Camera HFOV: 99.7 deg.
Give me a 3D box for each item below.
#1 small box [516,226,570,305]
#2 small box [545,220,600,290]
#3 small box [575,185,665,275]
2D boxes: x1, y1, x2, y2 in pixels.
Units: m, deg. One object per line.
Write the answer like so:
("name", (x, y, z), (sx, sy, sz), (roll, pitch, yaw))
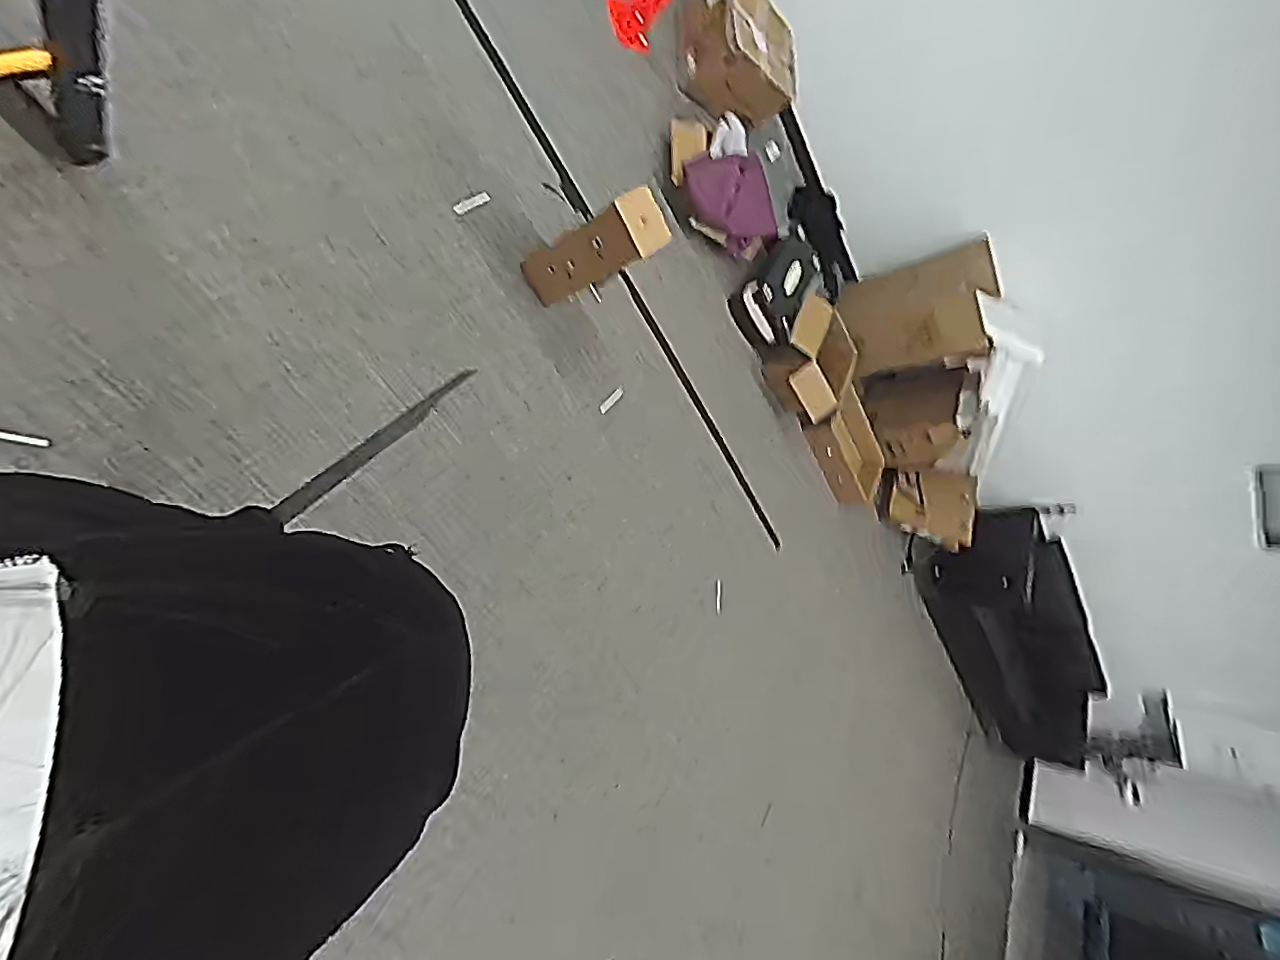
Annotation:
("small box", (-0.291, -0.730, 1.849), (0.168, 0.176, 0.179), (-48, 119, -36))
("small box", (-0.169, -0.741, 1.738), (0.179, 0.176, 0.168), (-48, 118, -36))
("small box", (-0.062, -0.744, 1.615), (0.179, 0.176, 0.168), (-48, 117, -36))
